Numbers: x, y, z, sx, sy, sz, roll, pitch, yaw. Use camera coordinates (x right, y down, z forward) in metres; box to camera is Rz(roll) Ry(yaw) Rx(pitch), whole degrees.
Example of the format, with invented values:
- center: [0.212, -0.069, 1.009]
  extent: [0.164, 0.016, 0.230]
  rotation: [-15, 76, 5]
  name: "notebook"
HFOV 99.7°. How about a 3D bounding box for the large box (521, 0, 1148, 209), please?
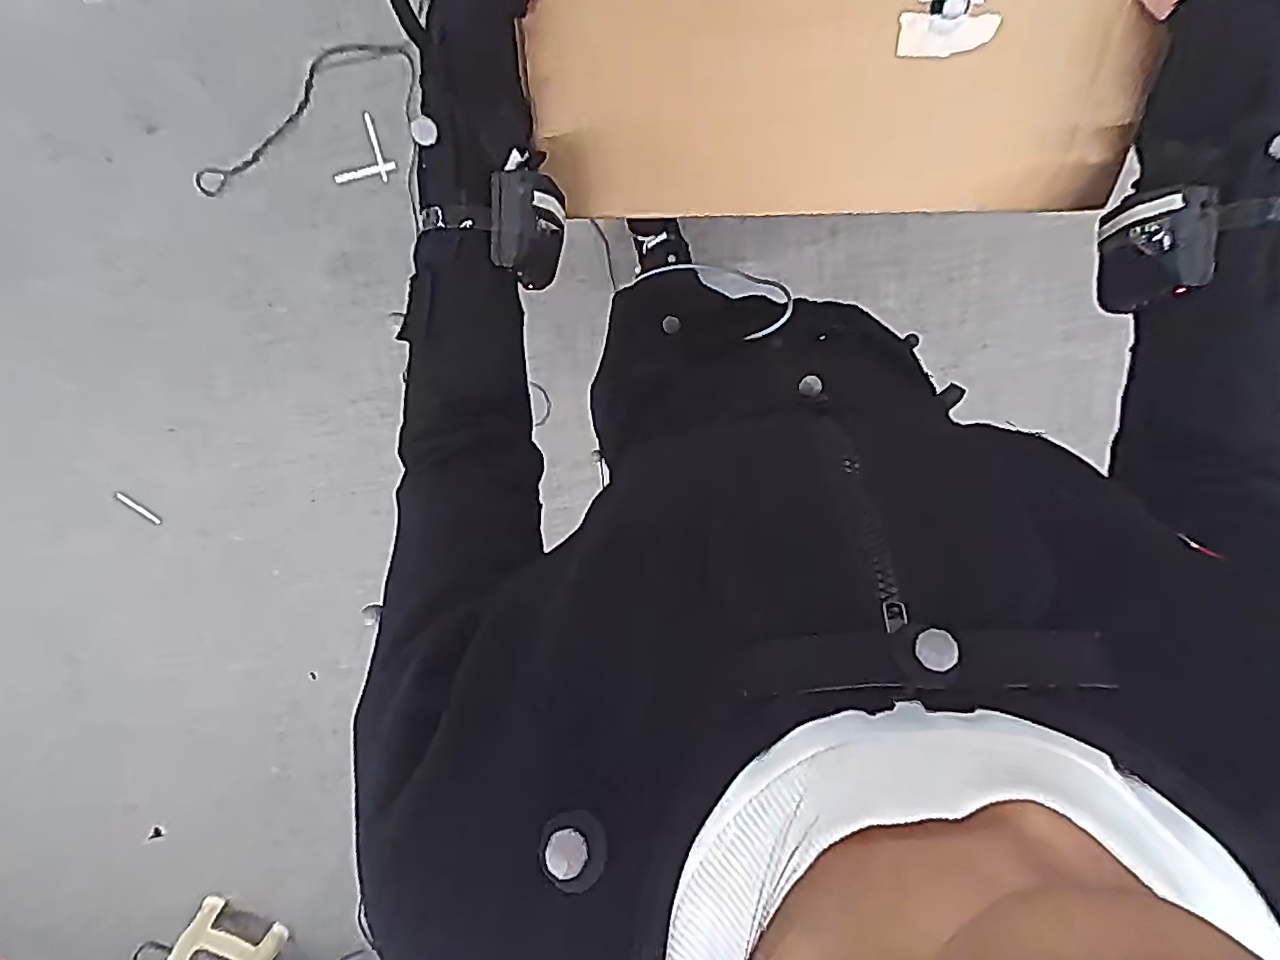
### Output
- center: [0.123, -0.418, 0.452]
  extent: [0.408, 0.320, 0.320]
  rotation: [0, 121, 3]
  name: "large box"
